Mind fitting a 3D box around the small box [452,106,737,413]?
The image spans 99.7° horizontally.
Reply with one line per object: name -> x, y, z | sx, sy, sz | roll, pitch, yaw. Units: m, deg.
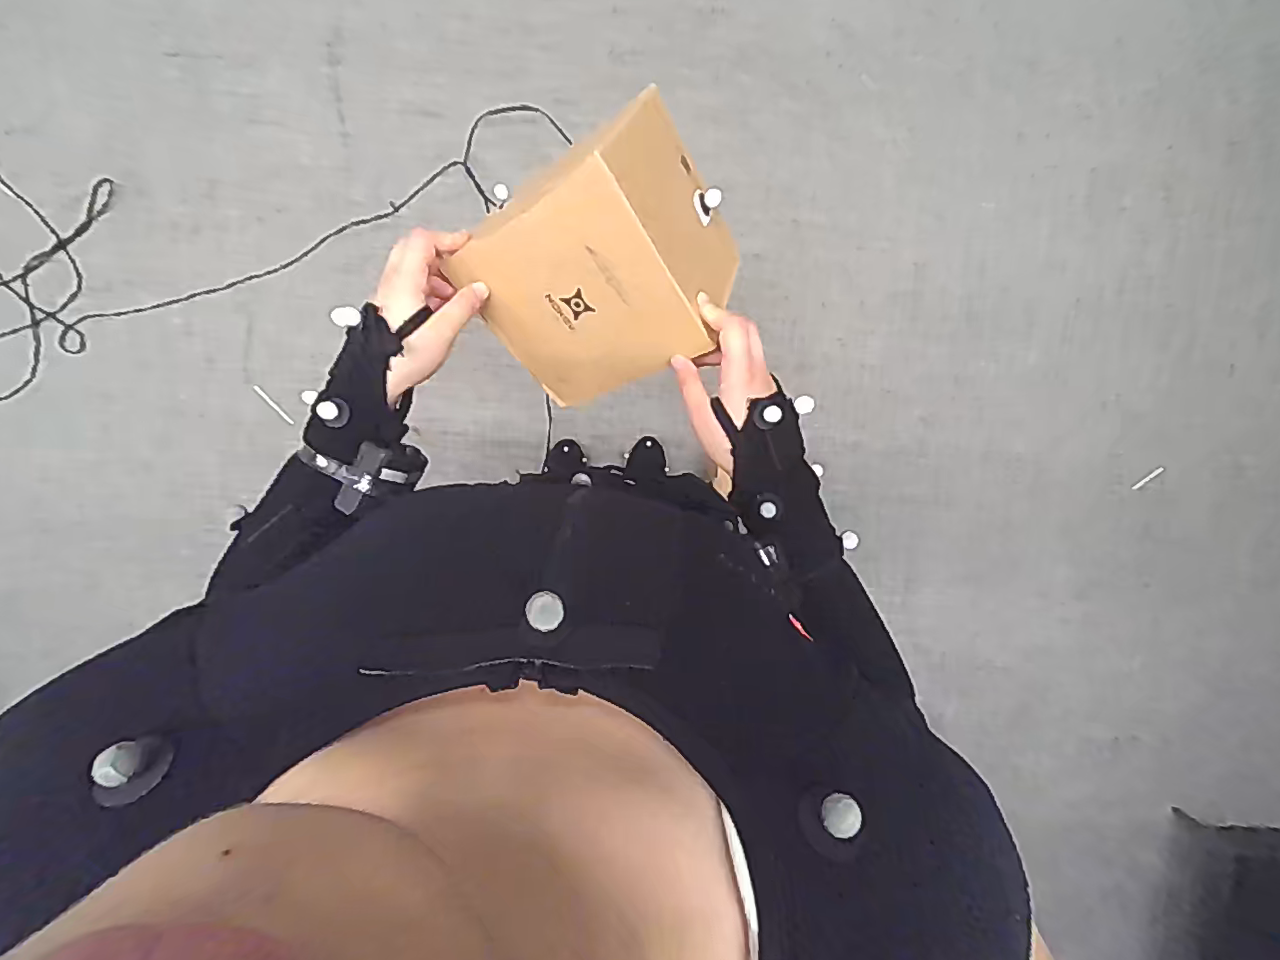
small box -> -0.028, -0.195, 0.499 | 0.179, 0.176, 0.168 | -16, 131, 34

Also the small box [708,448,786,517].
small box -> 0.274, 0.003, 1.422 | 0.179, 0.176, 0.168 | 1, 96, 0
